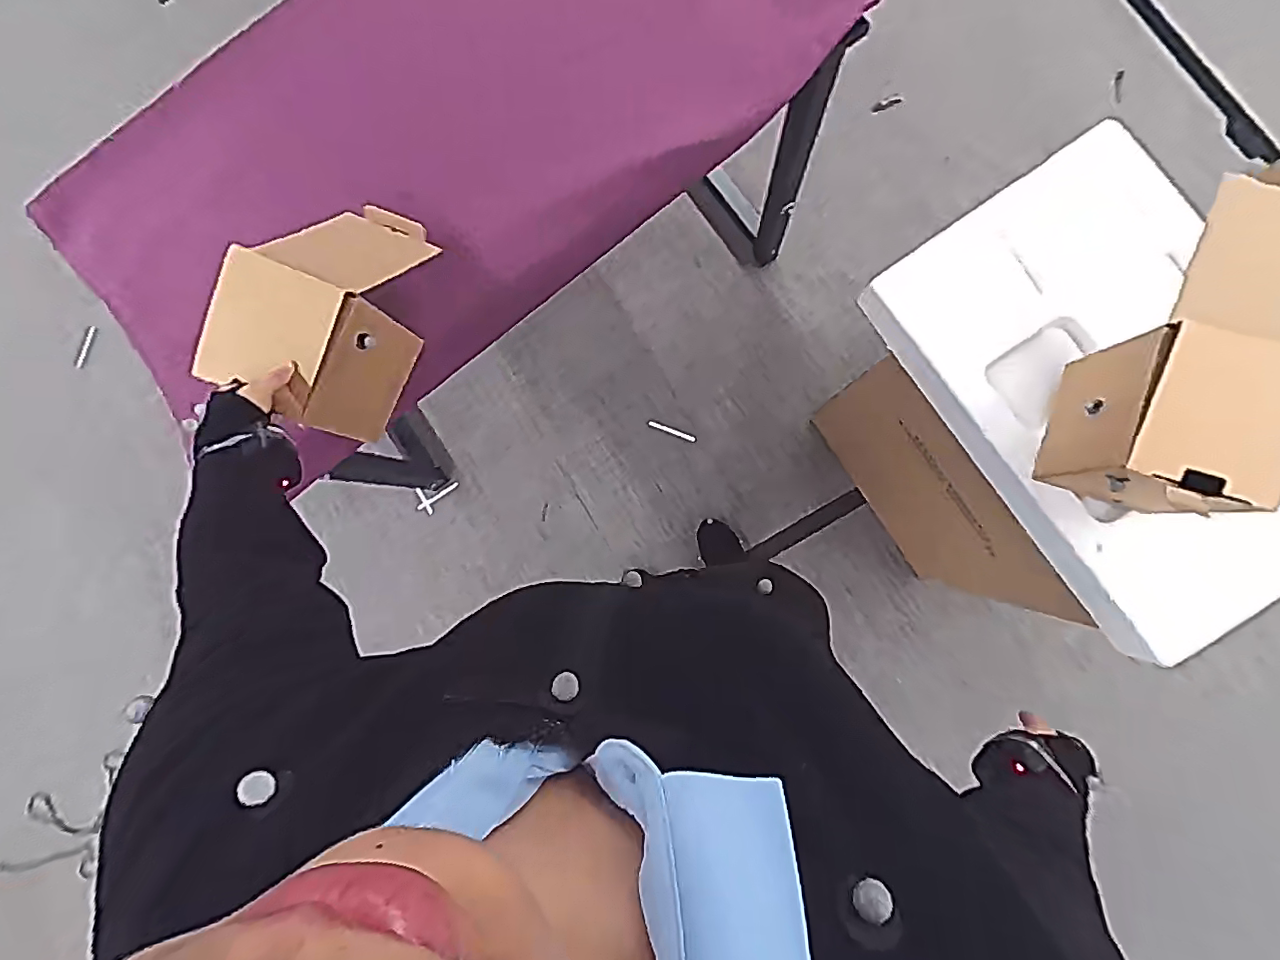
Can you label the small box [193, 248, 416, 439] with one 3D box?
[{"bbox_3d":[-0.442,-0.176,0.746,0.168,0.176,0.179,24,88,9],"label":"small box"}]
